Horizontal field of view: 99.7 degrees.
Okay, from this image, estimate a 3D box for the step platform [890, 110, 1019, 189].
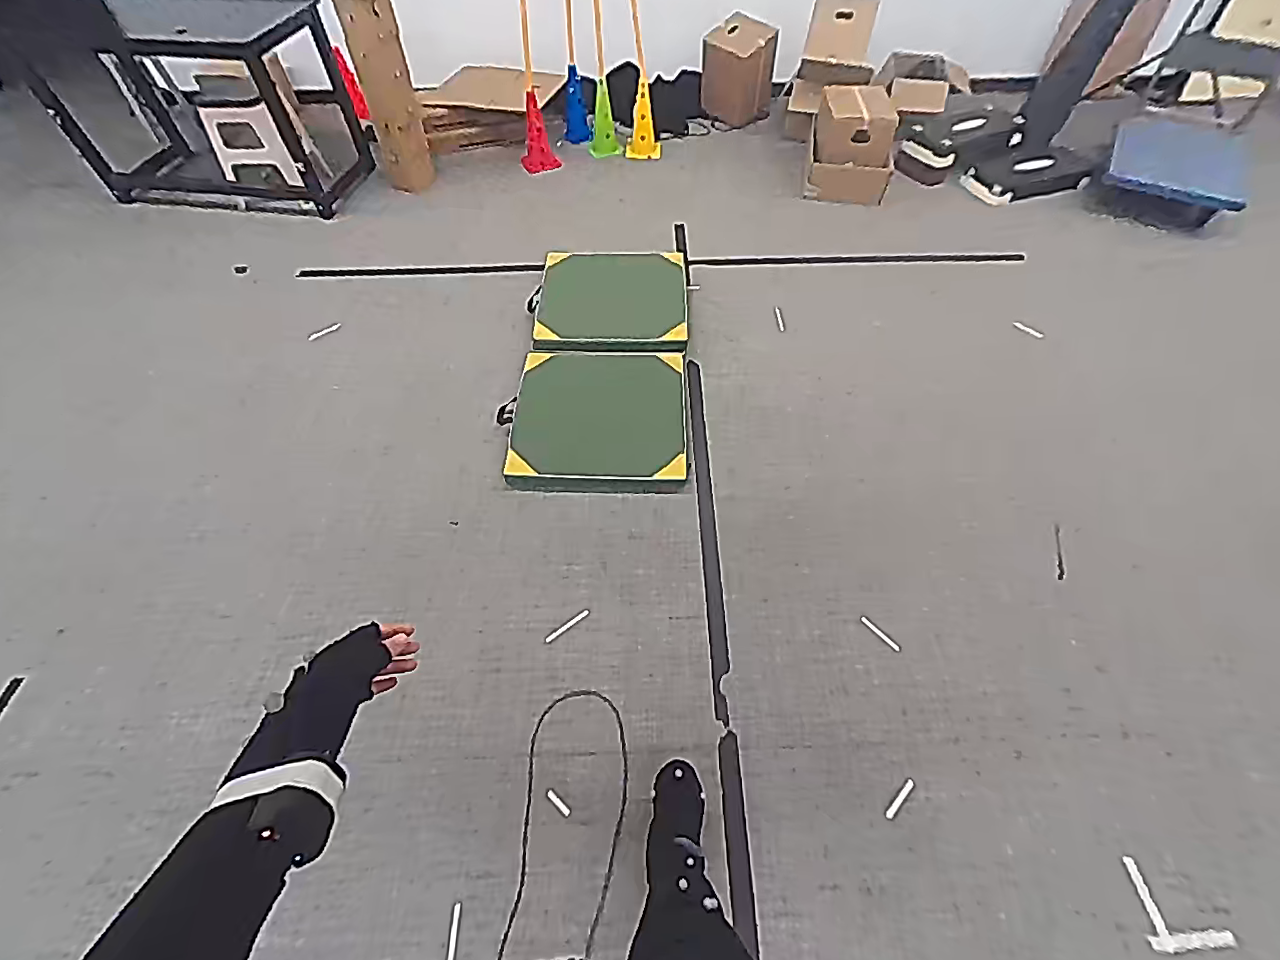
[{"bbox_3d":[1.749,-1.845,3.004,0.684,0.204,0.286,-25,58,-16],"label":"step platform"}]
